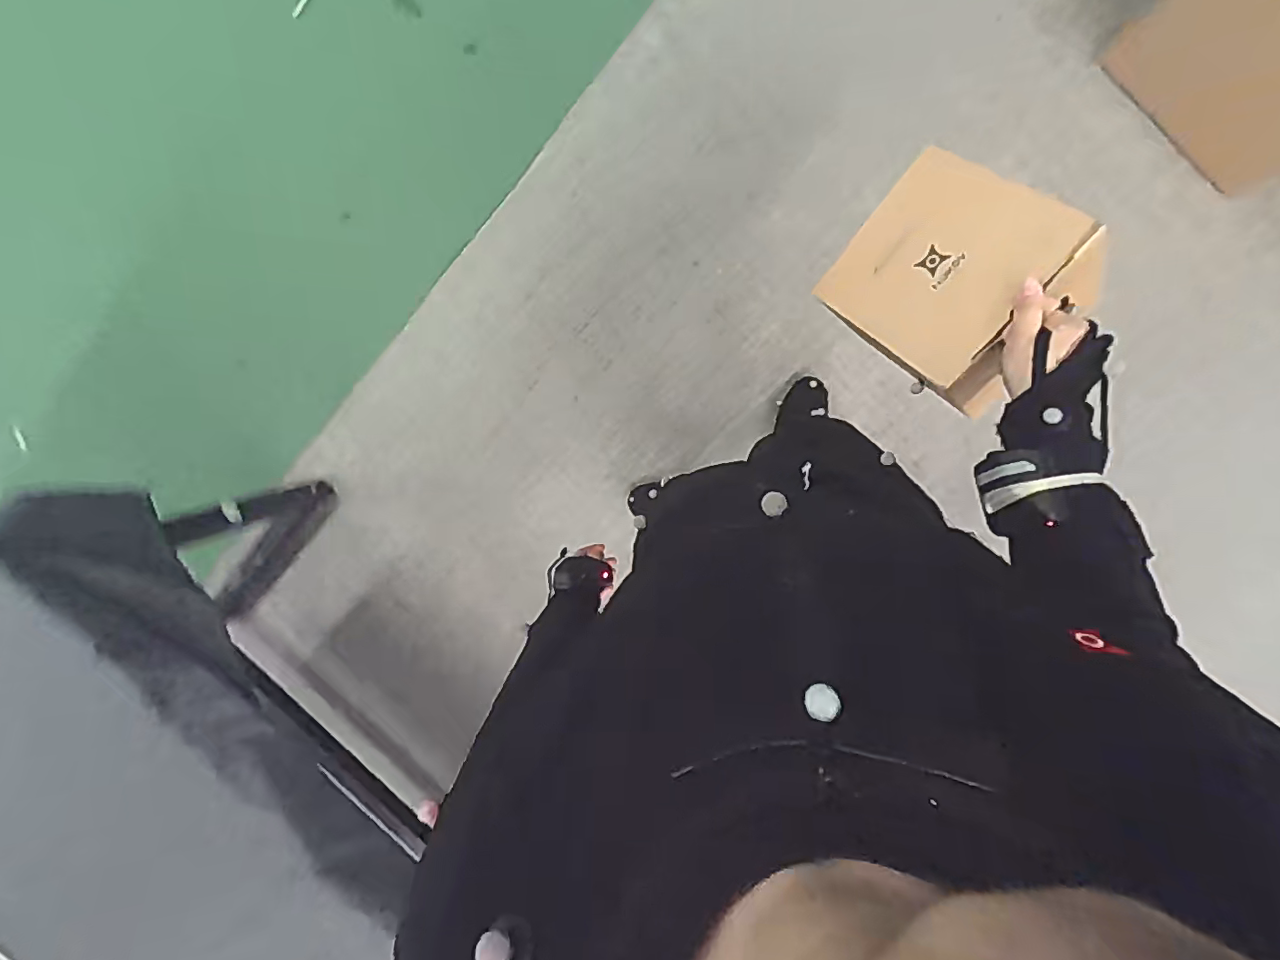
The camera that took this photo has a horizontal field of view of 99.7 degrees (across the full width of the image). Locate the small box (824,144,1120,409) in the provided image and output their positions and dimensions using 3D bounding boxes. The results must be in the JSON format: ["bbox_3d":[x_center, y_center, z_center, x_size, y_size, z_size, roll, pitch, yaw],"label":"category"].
[{"bbox_3d":[0.332,-0.190,0.551,0.168,0.176,0.179,-51,56,22],"label":"small box"}]

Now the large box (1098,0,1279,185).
[{"bbox_3d":[1.145,-0.810,0.924,0.408,0.320,0.320,43,104,-3],"label":"large box"}]
